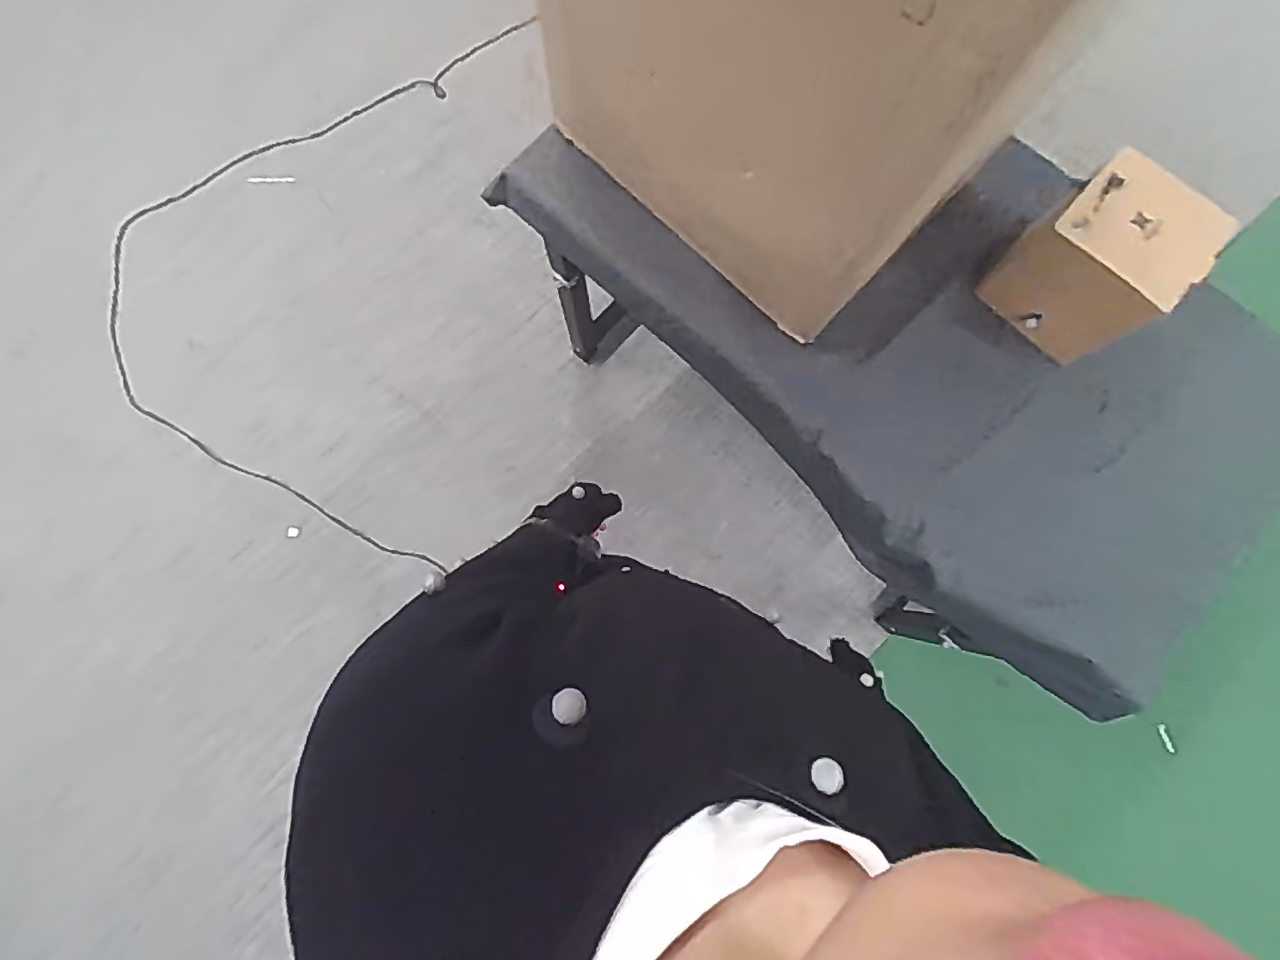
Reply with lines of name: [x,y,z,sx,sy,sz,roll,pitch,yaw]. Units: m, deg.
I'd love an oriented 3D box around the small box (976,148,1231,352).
small box: [0.634,-0.305,0.764,0.179,0.176,0.168,43,82,7]
